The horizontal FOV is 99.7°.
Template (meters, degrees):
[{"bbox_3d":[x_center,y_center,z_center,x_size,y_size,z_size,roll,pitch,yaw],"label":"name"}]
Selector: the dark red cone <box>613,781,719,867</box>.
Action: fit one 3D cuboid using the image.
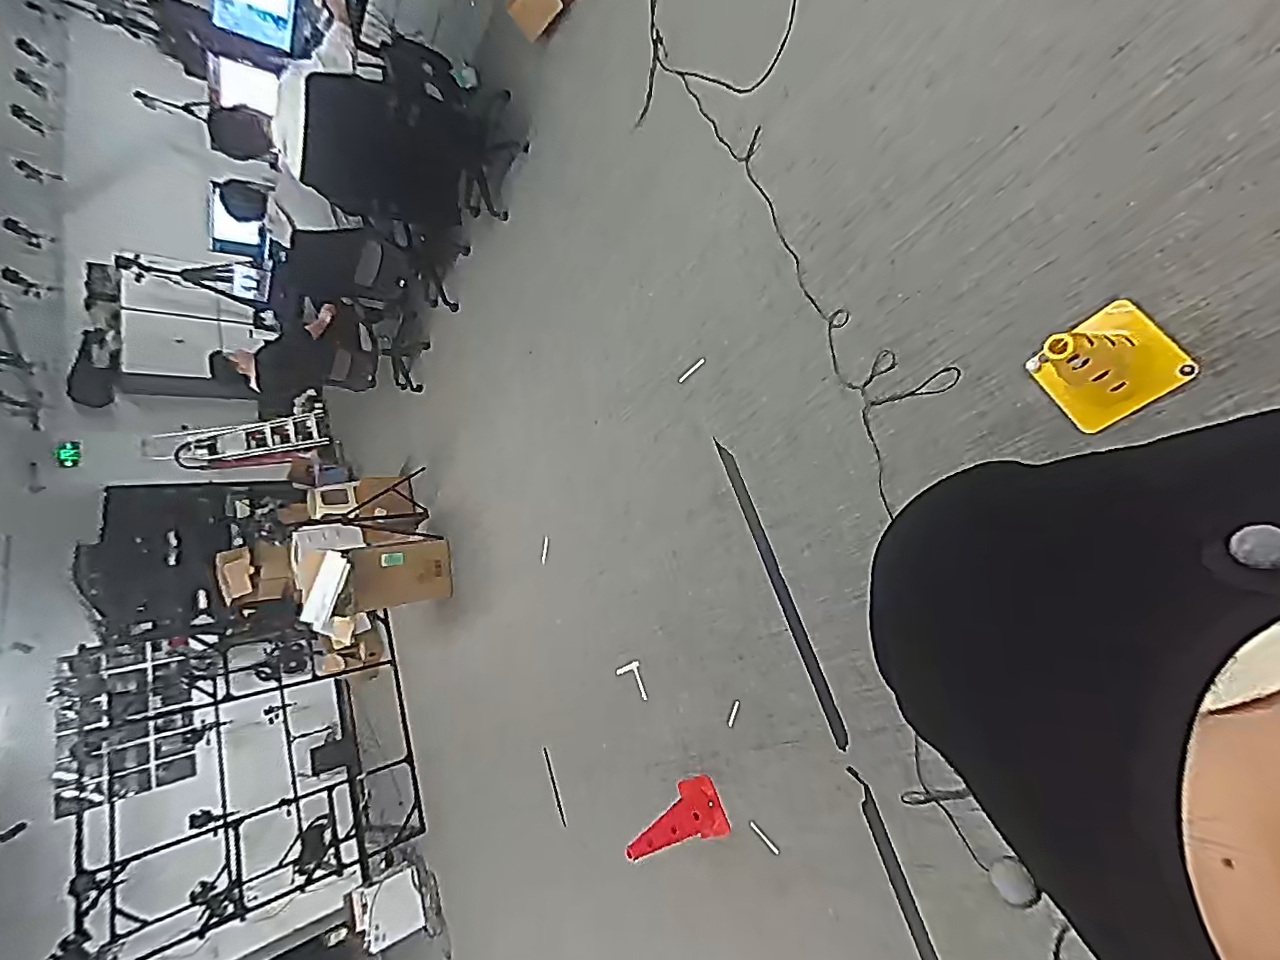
[{"bbox_3d":[0.073,1.220,1.861,0.201,0.394,0.202,-46,59,40],"label":"dark red cone"}]
